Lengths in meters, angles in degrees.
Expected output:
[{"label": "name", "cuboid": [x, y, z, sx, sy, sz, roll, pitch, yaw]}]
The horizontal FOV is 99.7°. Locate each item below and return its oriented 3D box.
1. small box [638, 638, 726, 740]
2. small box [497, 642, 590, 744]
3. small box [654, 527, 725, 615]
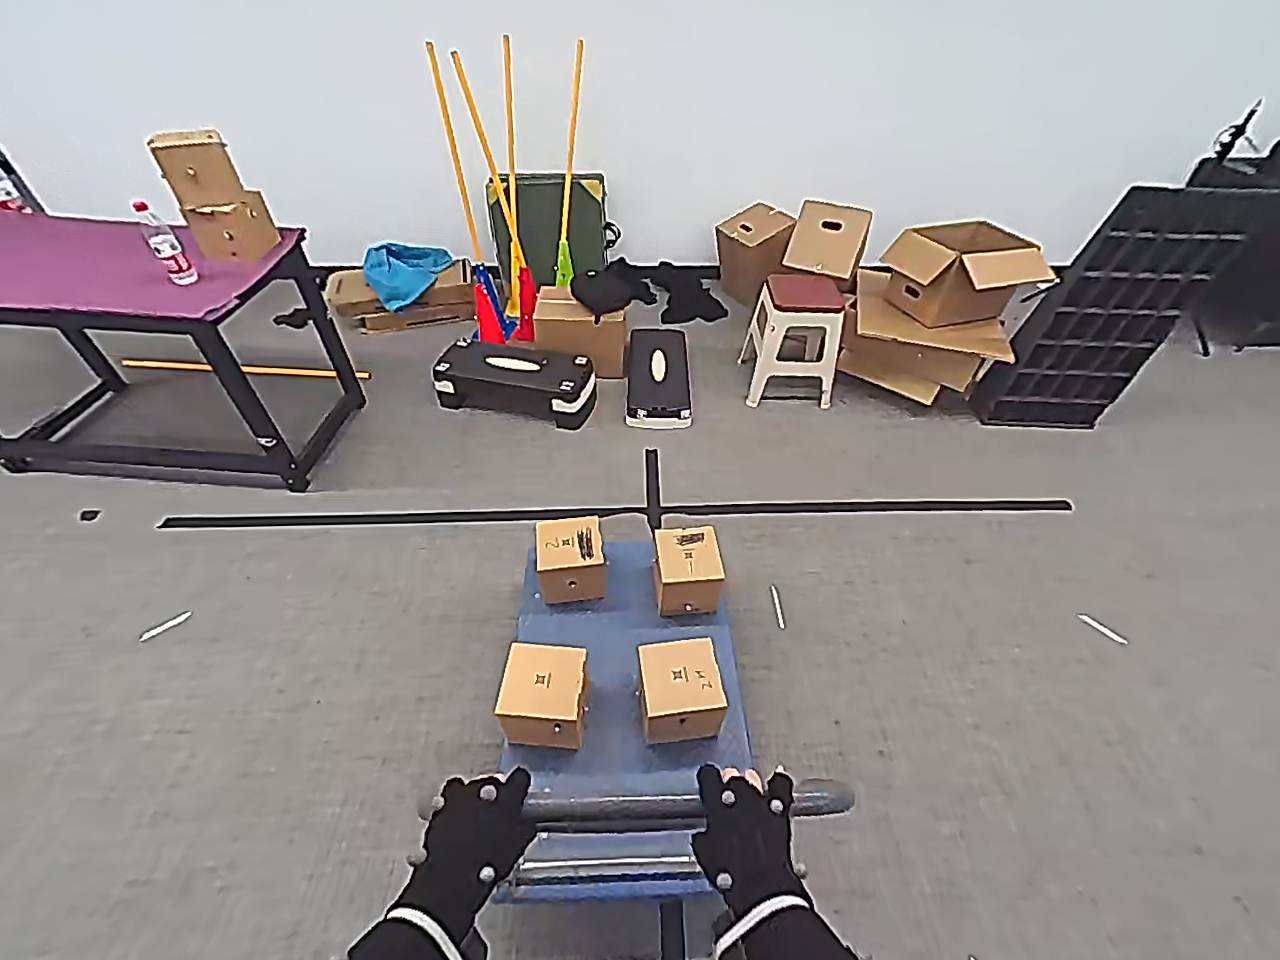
[{"label": "small box", "cuboid": [0.091, 0.492, 1.266, 0.179, 0.176, 0.168, -4, 46, -6]}, {"label": "small box", "cuboid": [-0.214, 0.496, 1.254, 0.179, 0.176, 0.168, 5, 46, 1]}, {"label": "small box", "cuboid": [0.131, 0.252, 1.502, 0.168, 0.176, 0.179, -3, 47, -5]}]
